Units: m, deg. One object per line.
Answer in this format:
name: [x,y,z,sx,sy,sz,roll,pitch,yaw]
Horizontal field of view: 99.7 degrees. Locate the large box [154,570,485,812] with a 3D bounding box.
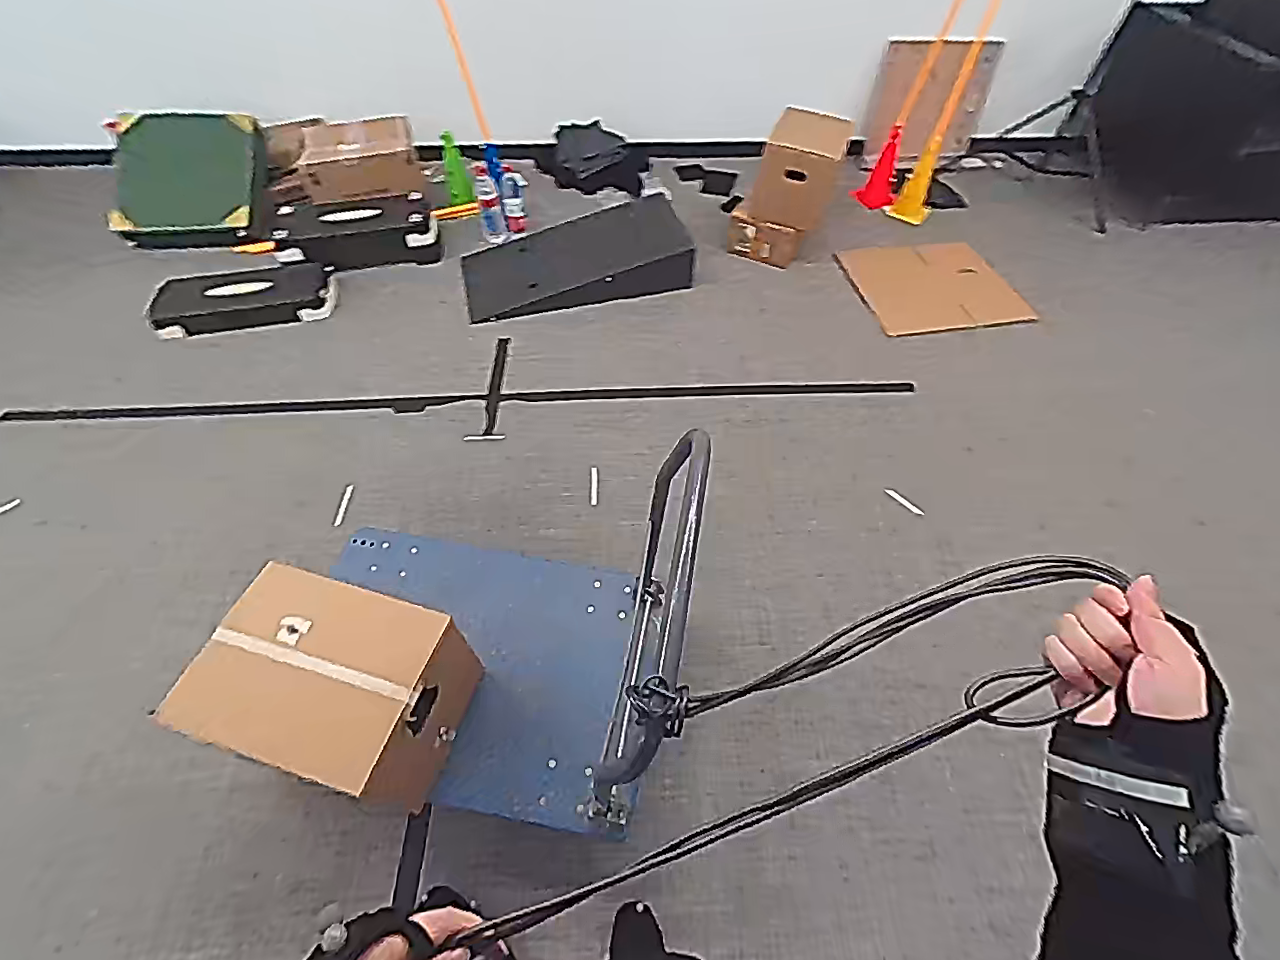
large box: [-0.583,0.426,1.078,0.408,0.320,0.320,14,54,9]
